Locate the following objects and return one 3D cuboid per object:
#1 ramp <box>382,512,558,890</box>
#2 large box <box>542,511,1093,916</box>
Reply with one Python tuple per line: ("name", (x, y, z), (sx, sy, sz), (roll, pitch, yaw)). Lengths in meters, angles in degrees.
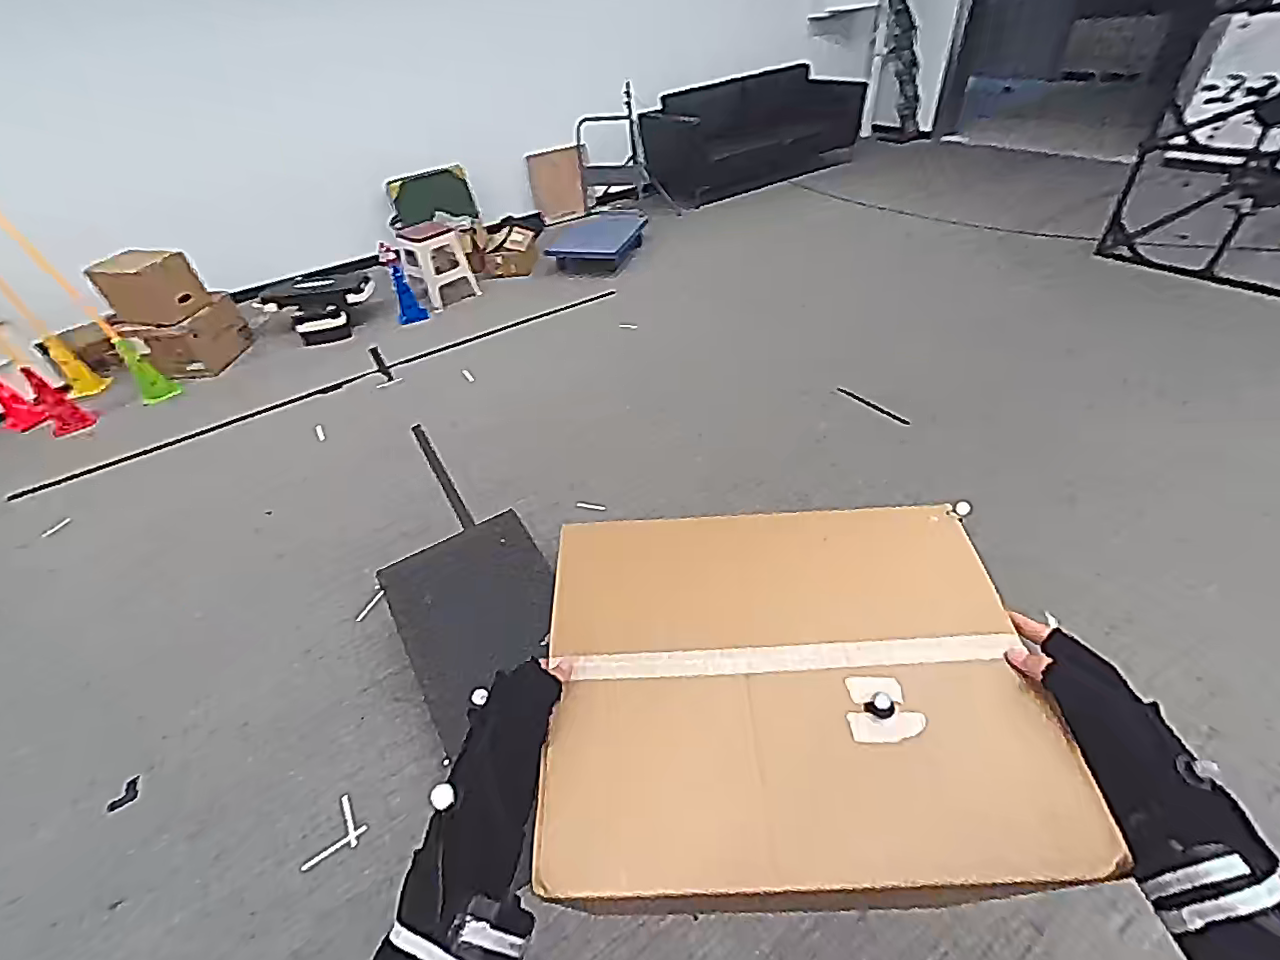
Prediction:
("ramp", (-0.371, 0.536, 1.599), (0.509, 0.206, 0.991), (-27, 45, -23))
("large box", (0.125, 0.259, 0.592), (0.408, 0.320, 0.320), (-3, 49, 1))
